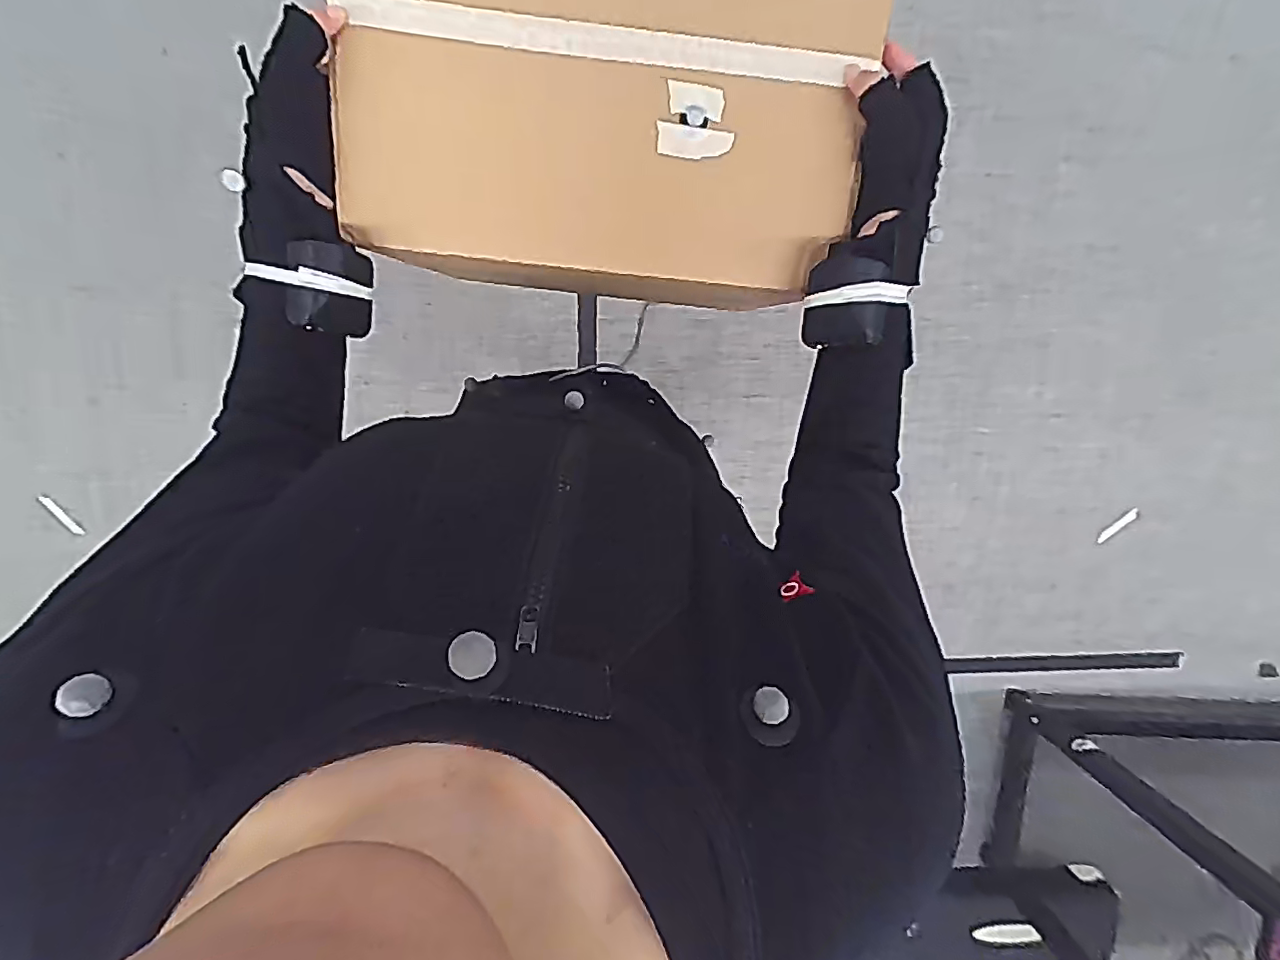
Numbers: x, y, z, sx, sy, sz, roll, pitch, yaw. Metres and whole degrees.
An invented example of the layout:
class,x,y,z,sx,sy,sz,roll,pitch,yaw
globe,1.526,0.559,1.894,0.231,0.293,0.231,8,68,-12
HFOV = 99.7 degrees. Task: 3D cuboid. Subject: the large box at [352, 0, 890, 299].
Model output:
class,x,y,z,sx,sy,sz,roll,pitch,yaw
large box,-0.023,-0.369,0.551,0.408,0.320,0.320,4,106,-5
